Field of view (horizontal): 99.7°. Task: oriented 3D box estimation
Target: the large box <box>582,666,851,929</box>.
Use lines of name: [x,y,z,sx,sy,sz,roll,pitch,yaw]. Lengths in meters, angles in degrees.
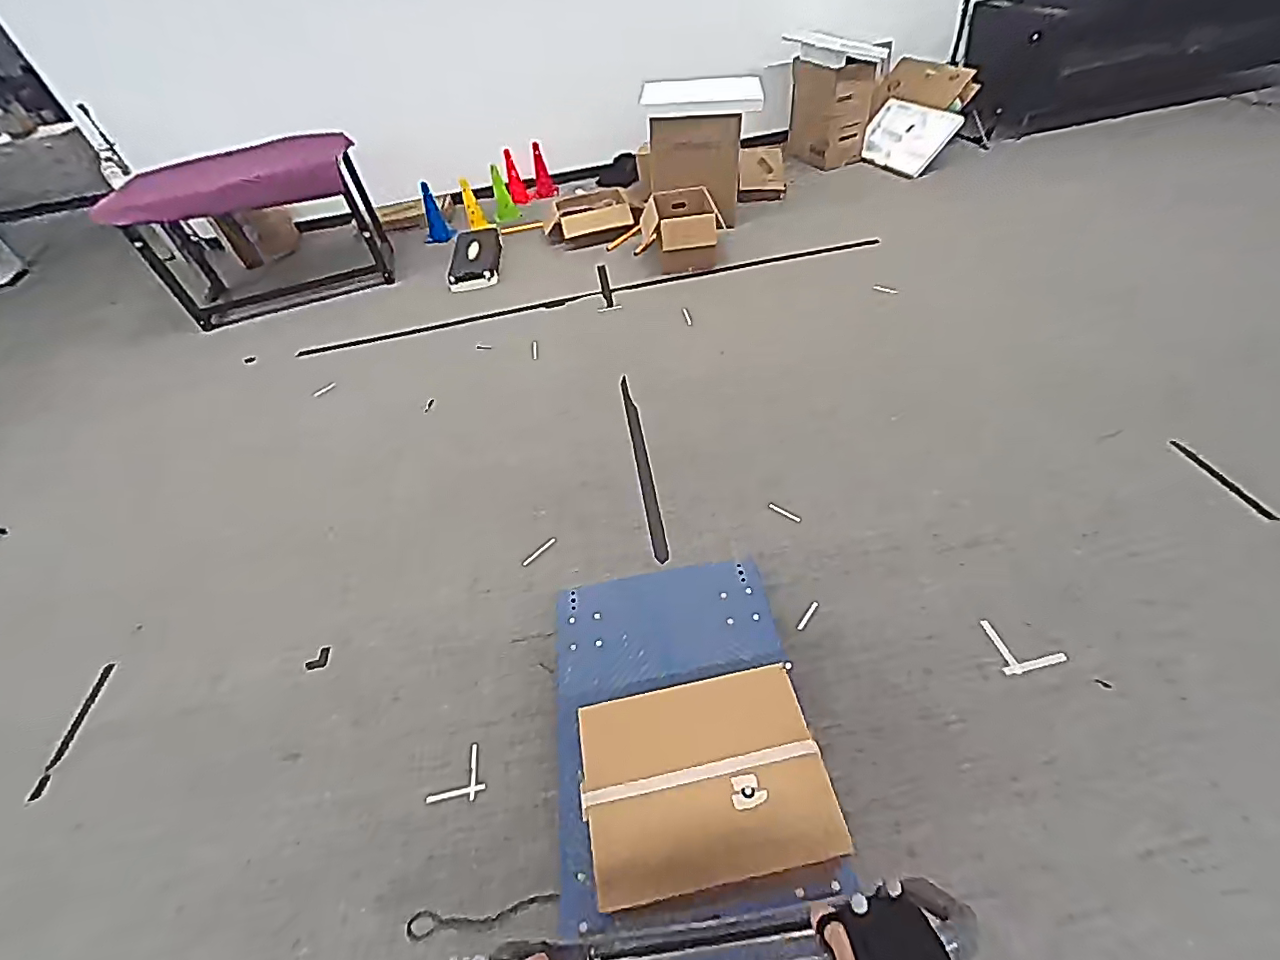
large box: [0.126,0.611,1.042,0.408,0.320,0.320,-12,47,-3]
